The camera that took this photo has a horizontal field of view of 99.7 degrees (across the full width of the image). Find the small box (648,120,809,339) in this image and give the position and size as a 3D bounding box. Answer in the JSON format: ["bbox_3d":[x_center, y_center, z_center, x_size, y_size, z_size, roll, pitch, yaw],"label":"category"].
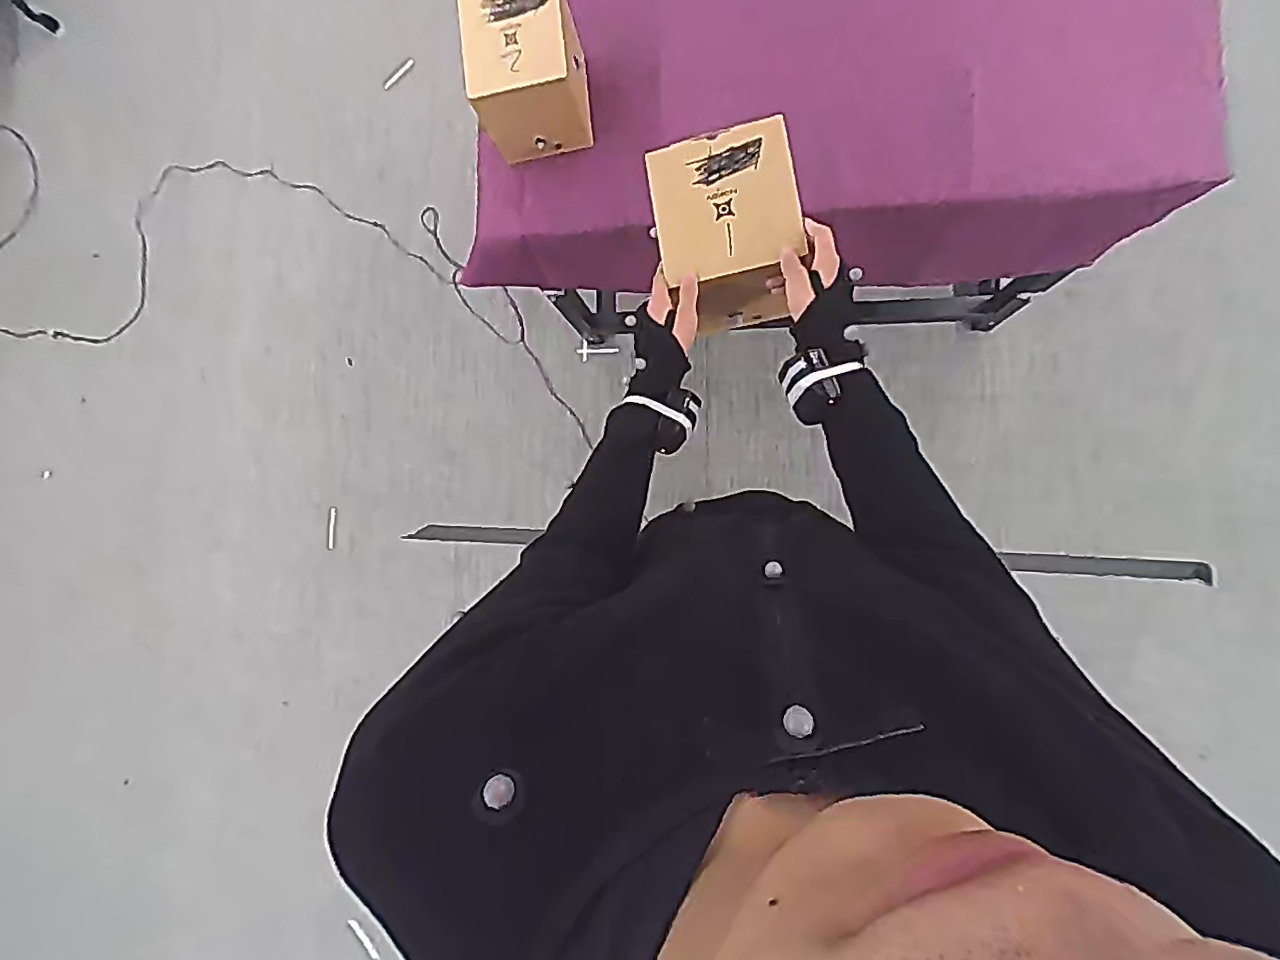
[{"bbox_3d":[0.114,-0.306,0.697,0.168,0.176,0.179,-10,83,12],"label":"small box"}]
